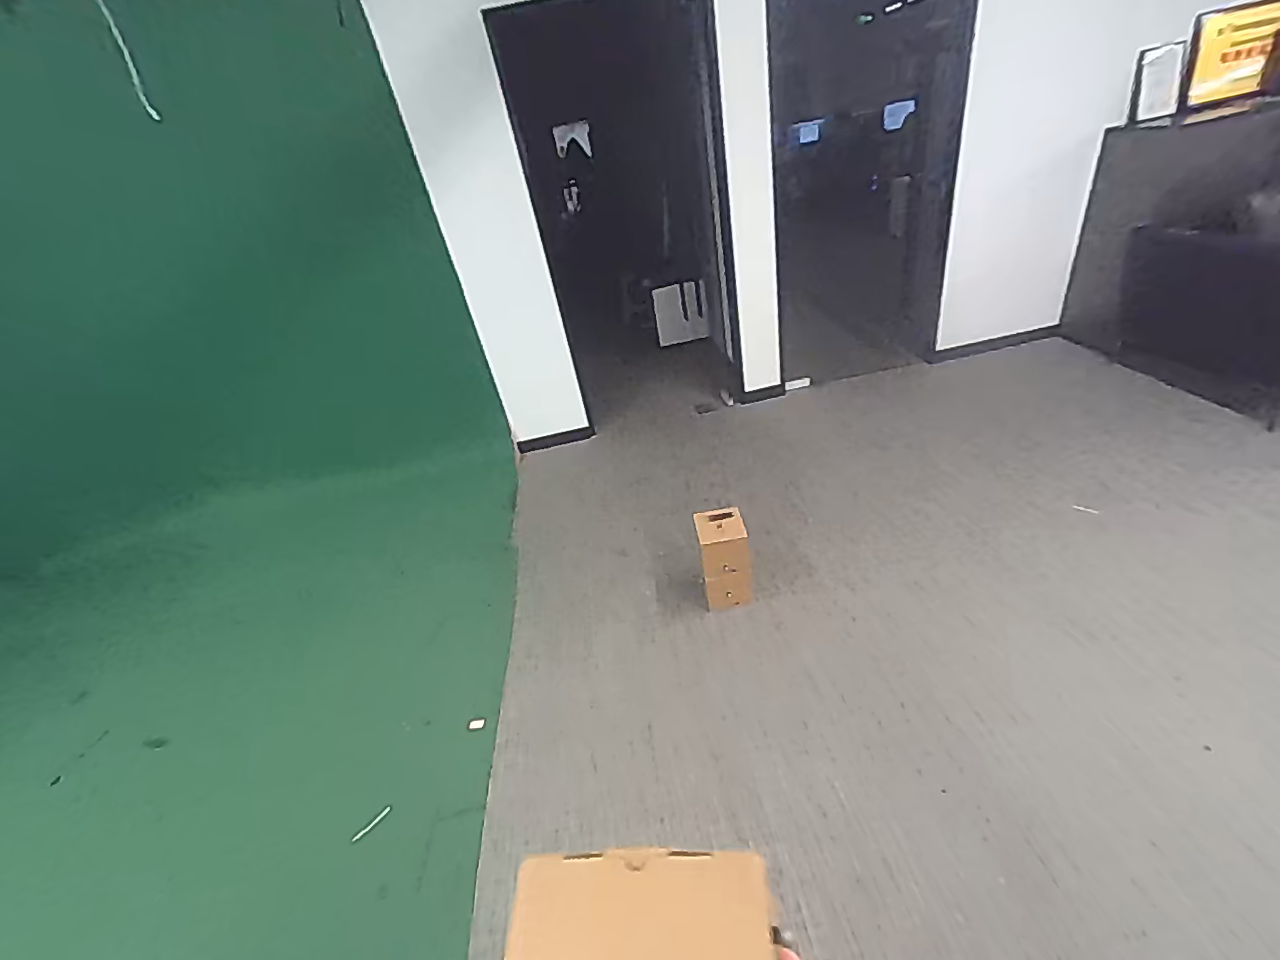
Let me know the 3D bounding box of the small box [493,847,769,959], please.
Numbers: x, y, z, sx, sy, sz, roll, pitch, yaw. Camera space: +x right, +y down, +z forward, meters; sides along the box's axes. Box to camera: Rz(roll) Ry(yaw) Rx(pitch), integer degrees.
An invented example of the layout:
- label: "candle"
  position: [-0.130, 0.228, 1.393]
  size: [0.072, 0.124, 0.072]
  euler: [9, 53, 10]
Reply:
- label: "small box"
  position: [0.005, 0.370, 0.358]
  size: [0.168, 0.176, 0.179]
  euler: [-10, 41, 9]

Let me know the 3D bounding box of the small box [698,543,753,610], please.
- label: "small box"
  position: [0.320, 0.368, 2.021]
  size: [0.168, 0.176, 0.179]
  euler: [-11, 33, 1]
